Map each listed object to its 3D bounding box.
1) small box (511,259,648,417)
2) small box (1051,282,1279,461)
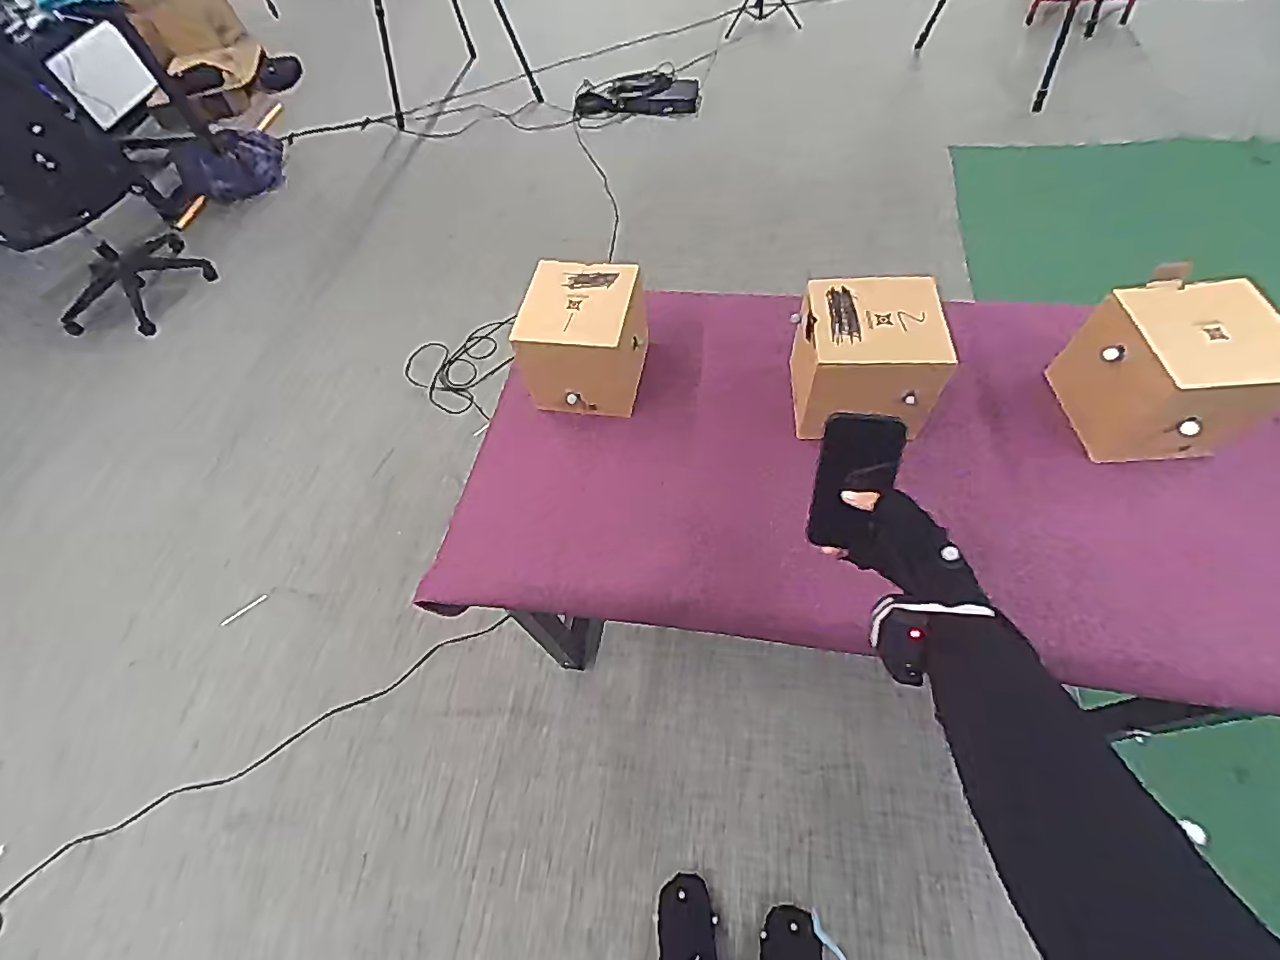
[{"bbox_3d":[-0.084,-0.226,0.874,0.168,0.176,0.179,7,62,10],"label":"small box"},{"bbox_3d":[0.712,-0.136,0.731,0.168,0.176,0.179,-3,58,5],"label":"small box"}]
